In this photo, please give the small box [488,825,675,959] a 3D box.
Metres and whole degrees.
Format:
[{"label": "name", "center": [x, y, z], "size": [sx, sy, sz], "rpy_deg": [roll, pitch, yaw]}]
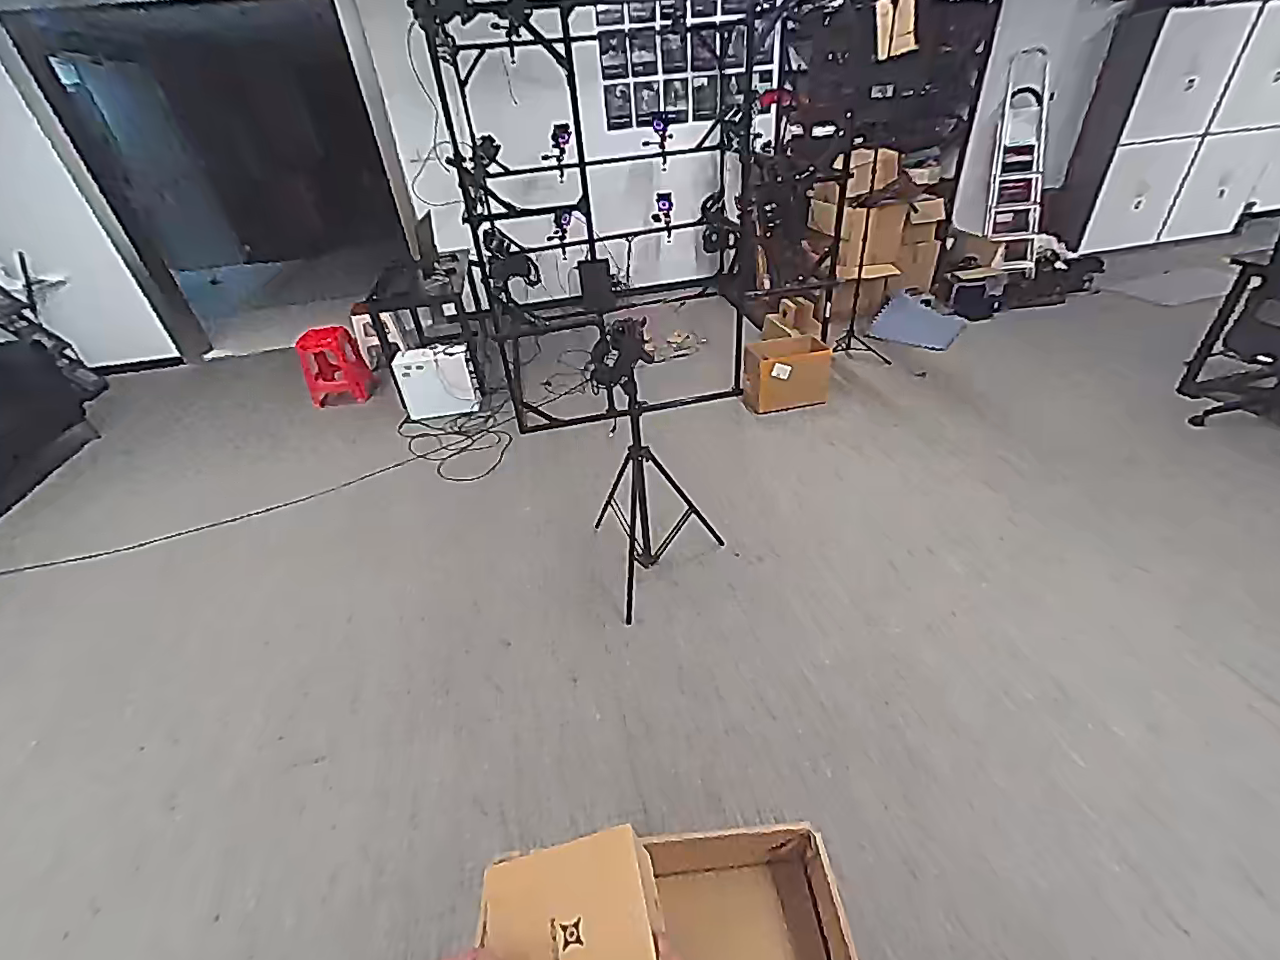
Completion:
[{"label": "small box", "center": [-0.058, 0.524, 0.613], "size": [0.179, 0.176, 0.168], "rpy_deg": [-16, 44, -3]}]
